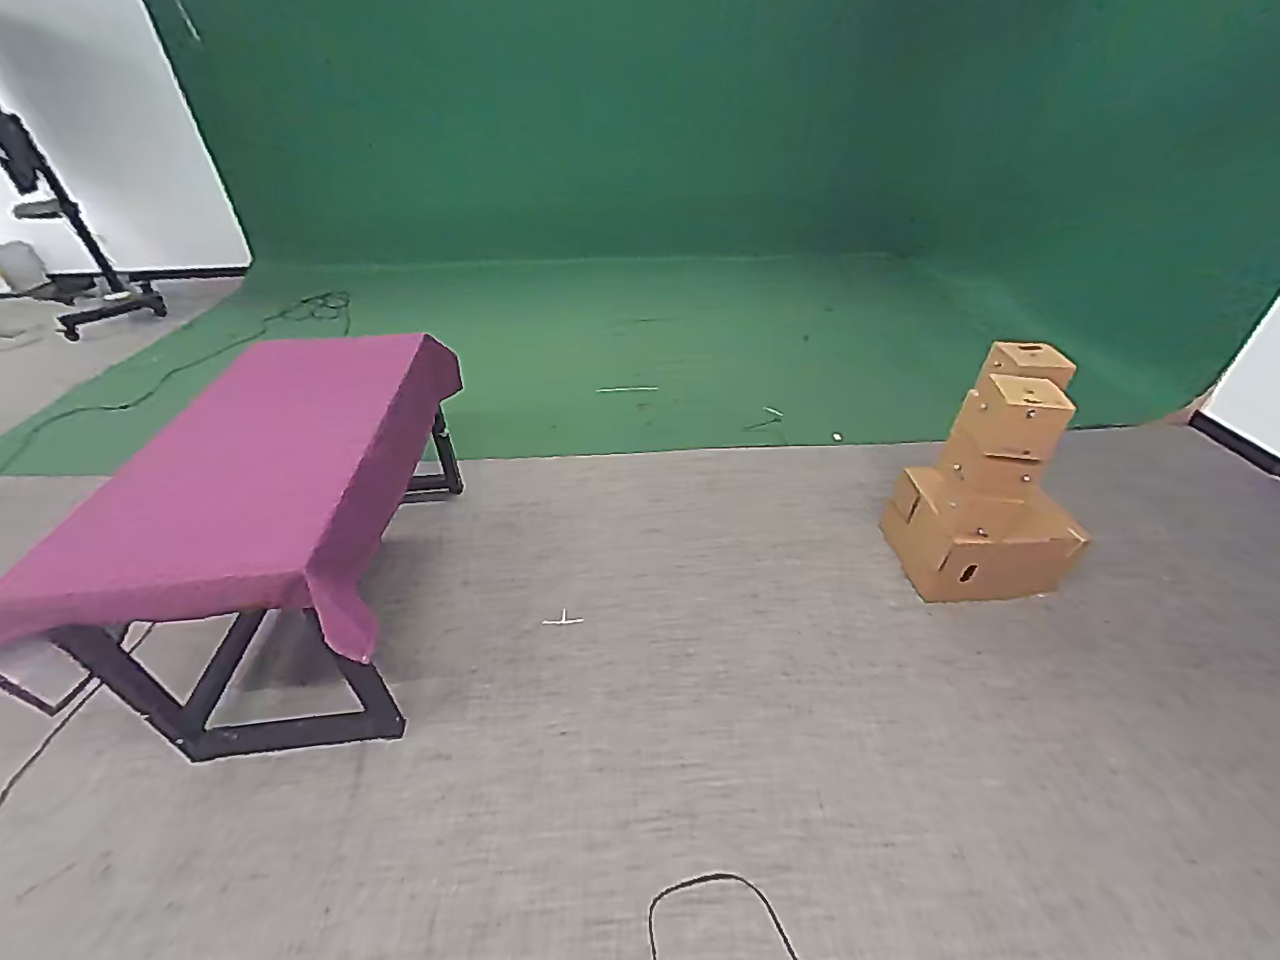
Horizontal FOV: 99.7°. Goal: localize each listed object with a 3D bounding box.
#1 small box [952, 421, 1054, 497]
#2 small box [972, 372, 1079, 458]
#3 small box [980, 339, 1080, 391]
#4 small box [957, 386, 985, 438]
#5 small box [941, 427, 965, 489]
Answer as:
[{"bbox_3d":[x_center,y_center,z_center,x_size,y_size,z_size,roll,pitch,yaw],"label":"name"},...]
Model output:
[{"bbox_3d":[1.085,-0.064,1.630,0.179,0.176,0.168,4,39,4],"label":"small box"},{"bbox_3d":[1.068,-0.185,1.519,0.168,0.176,0.179,7,38,9],"label":"small box"},{"bbox_3d":[1.218,-0.331,1.706,0.168,0.176,0.179,2,38,2],"label":"small box"},{"bbox_3d":[1.207,-0.201,1.808,0.179,0.176,0.168,-1,38,-1],"label":"small box"},{"bbox_3d":[1.206,-0.071,1.906,0.168,0.176,0.179,-1,38,-4],"label":"small box"}]
